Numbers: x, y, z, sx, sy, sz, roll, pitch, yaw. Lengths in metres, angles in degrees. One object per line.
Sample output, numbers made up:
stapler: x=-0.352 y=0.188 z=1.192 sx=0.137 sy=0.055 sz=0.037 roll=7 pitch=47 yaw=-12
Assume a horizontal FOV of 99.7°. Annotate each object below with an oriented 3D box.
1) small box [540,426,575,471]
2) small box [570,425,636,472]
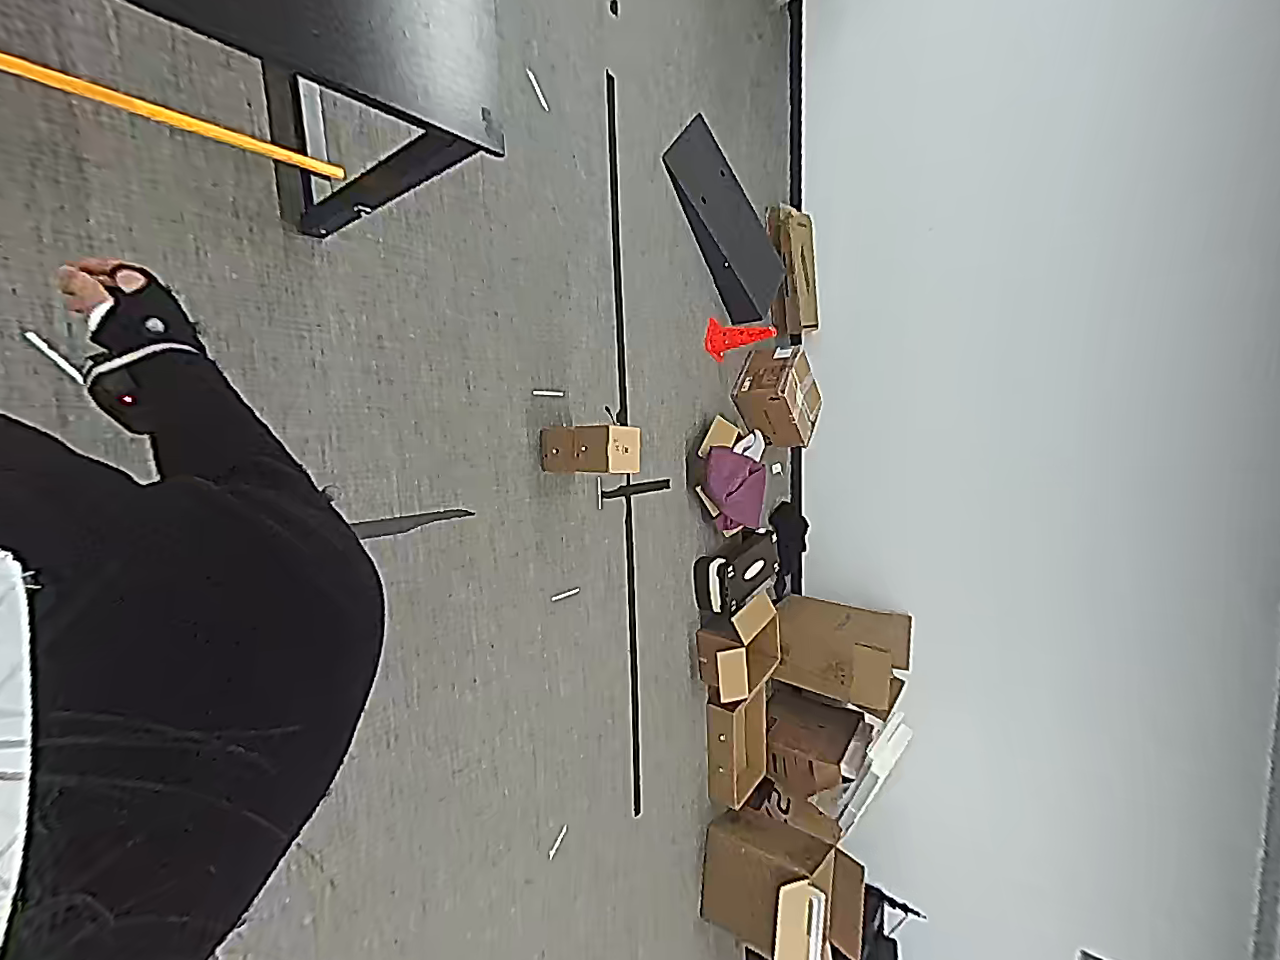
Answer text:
small box: x=-0.267 y=-0.121 z=2.053 sx=0.179 sy=0.176 sz=0.168 roll=-10 pitch=100 yaw=-51
small box: x=-0.133 y=-0.113 z=1.955 sx=0.179 sy=0.176 sz=0.168 roll=-2 pitch=93 yaw=-52
